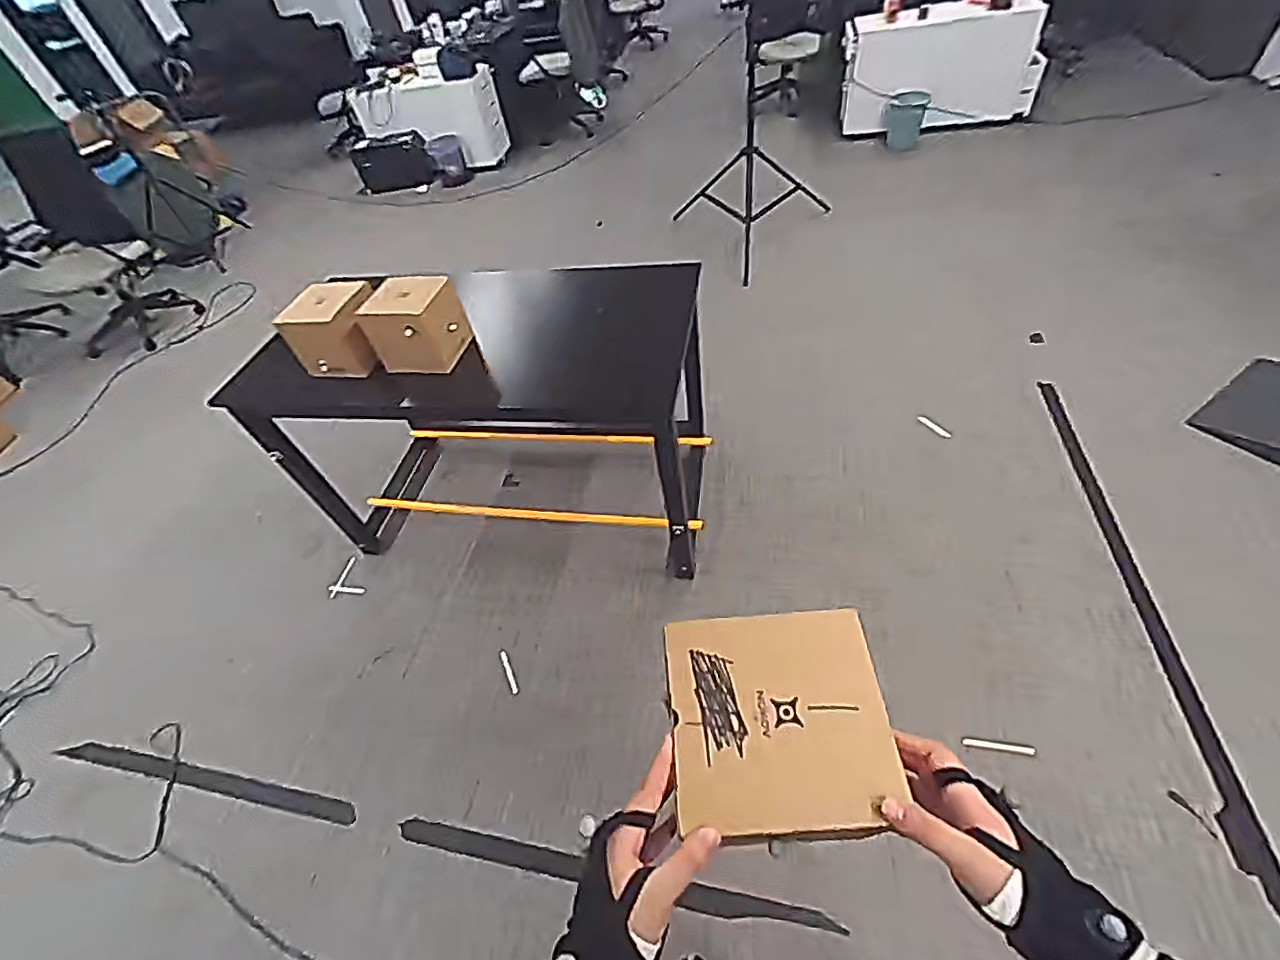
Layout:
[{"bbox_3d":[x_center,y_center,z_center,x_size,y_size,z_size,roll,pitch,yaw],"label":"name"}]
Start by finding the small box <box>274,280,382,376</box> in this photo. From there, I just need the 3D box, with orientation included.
[{"bbox_3d":[-0.755,-0.382,1.362,0.168,0.176,0.179,1,51,13],"label":"small box"}]

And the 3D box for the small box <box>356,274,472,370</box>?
[{"bbox_3d":[-0.539,-0.383,1.322,0.179,0.176,0.168,3,50,13],"label":"small box"}]

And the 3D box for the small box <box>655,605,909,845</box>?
[{"bbox_3d":[0.111,0.230,0.497,0.179,0.176,0.168,-5,54,3],"label":"small box"}]
